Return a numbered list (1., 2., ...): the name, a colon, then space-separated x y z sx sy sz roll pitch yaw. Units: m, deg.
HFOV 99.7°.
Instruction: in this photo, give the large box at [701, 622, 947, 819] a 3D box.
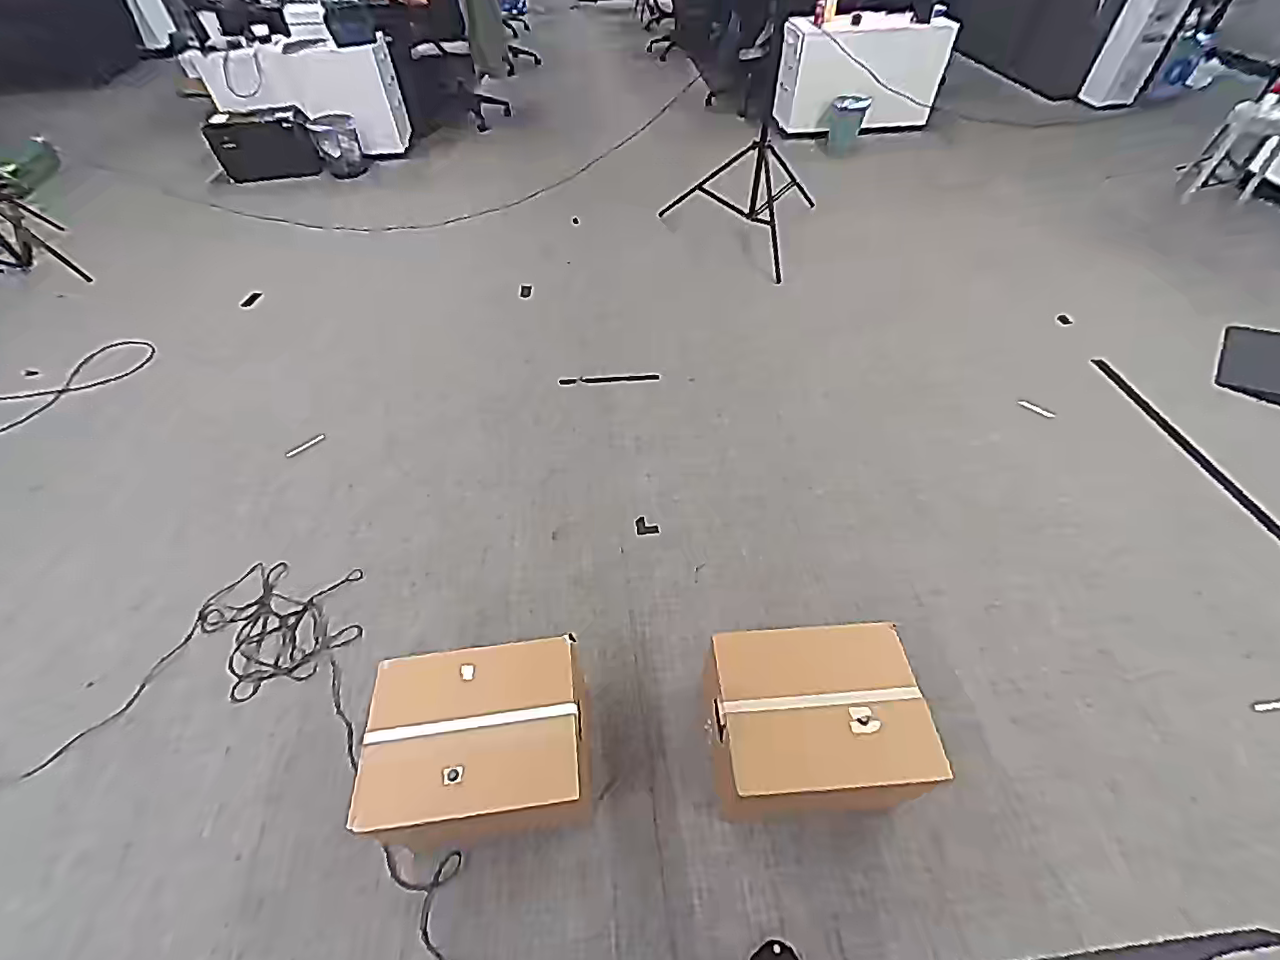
1. large box: 0.367 0.540 1.207 0.408 0.320 0.320 -3 51 -3
